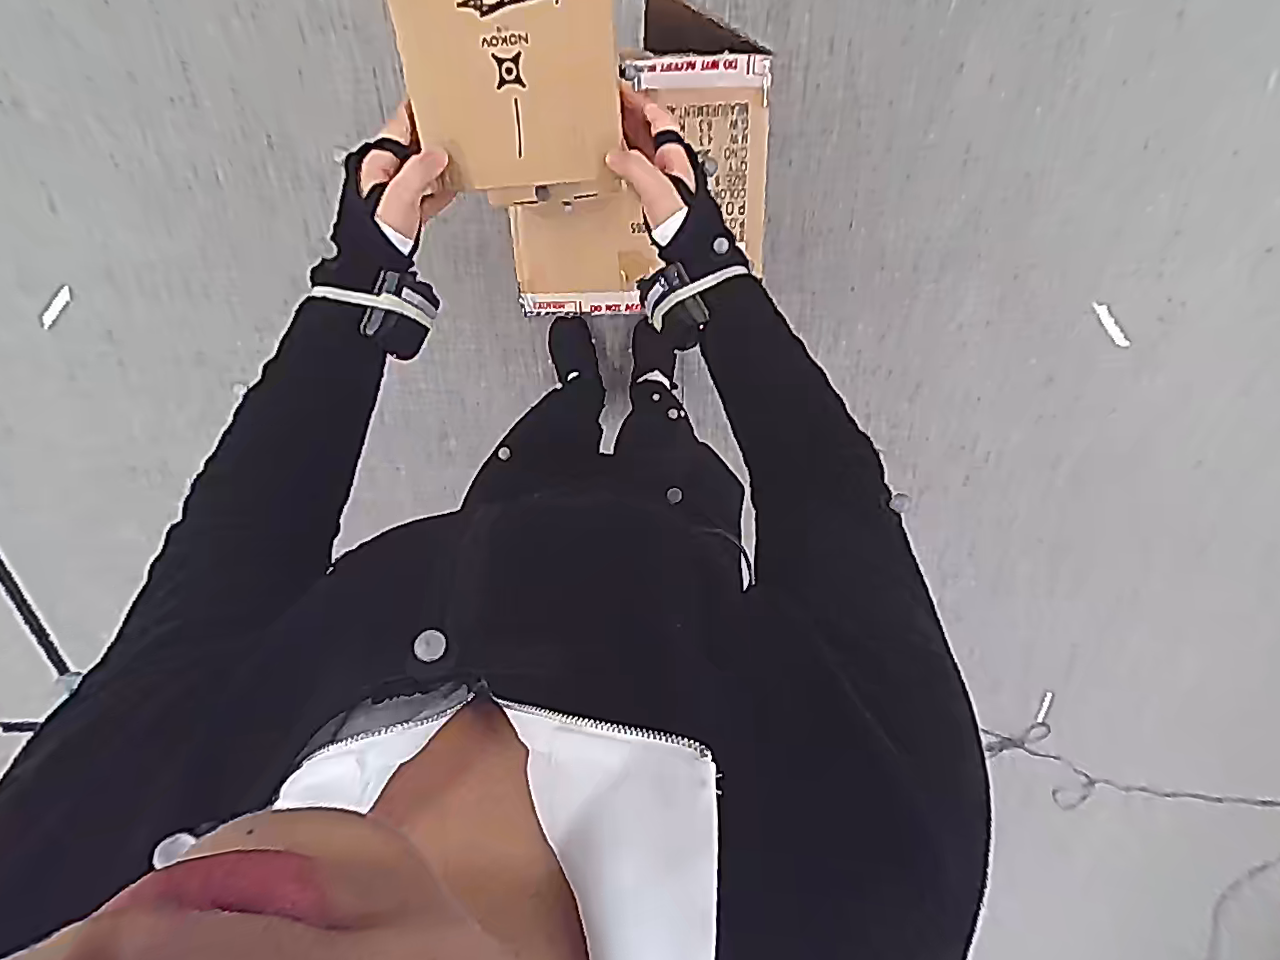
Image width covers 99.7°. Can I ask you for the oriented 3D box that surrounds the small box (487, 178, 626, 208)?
[{"bbox_3d":[-0.108,-0.449,0.686,0.168,0.176,0.179,-4,117,4],"label":"small box"}]

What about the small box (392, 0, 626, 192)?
[{"bbox_3d":[-0.100,-0.362,0.484,0.168,0.176,0.179,-3,120,2],"label":"small box"}]
